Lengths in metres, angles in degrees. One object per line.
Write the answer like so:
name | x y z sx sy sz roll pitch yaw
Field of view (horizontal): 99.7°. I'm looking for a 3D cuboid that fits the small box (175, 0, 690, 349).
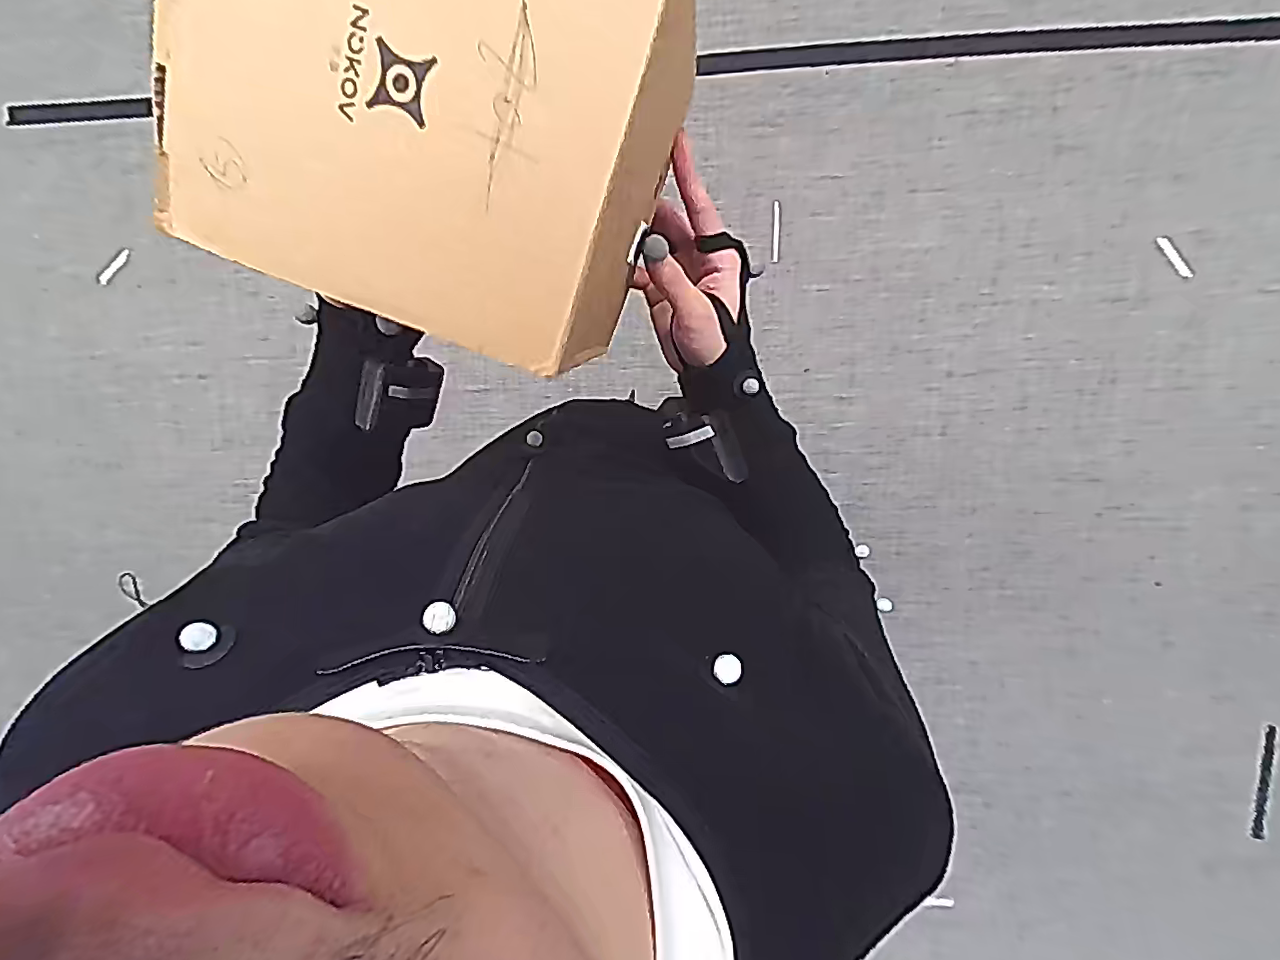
small box | -0.083 -0.177 0.283 0.179 0.176 0.168 19 108 -1
